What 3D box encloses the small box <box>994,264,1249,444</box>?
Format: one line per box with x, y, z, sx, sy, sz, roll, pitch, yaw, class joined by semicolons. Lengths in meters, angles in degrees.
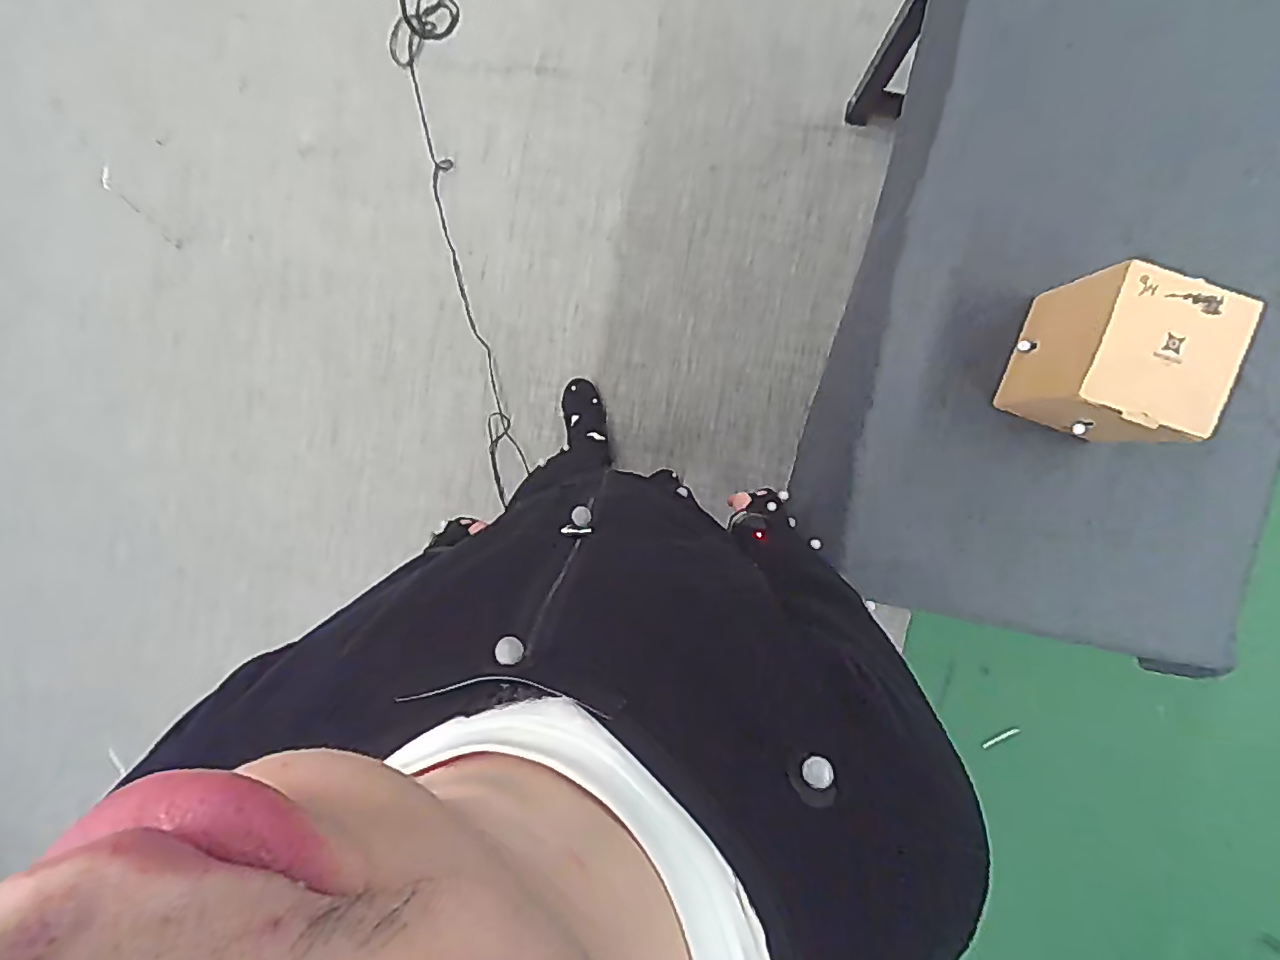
0.627;-0.159;0.733;0.168;0.176;0.179;19;95;0;small box
